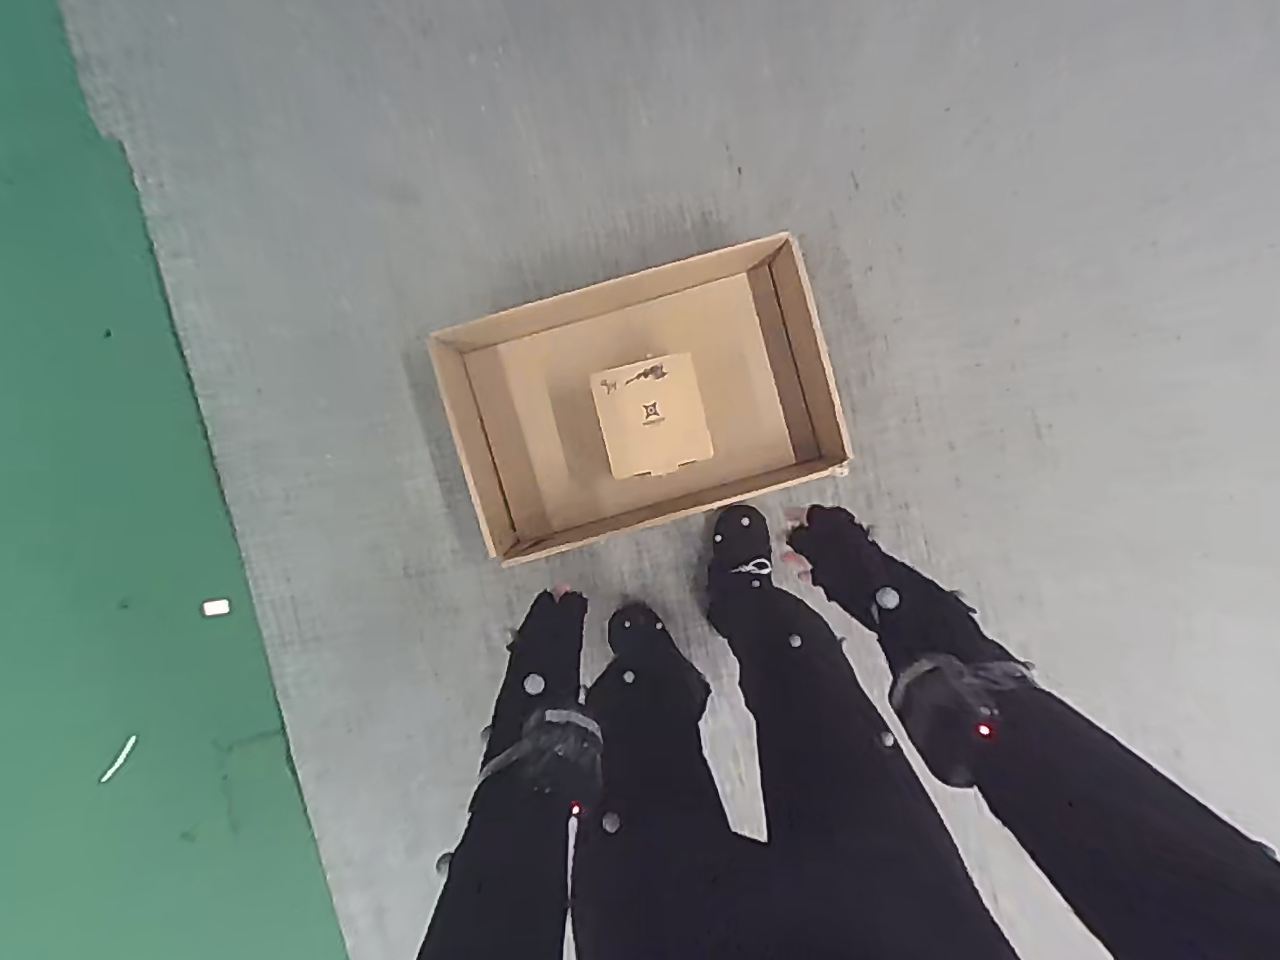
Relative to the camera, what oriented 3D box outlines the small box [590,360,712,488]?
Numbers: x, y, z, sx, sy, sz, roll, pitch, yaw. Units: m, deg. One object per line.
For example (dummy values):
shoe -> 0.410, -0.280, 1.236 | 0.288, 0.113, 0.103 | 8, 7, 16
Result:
small box -> 0.020, -0.094, 0.931 | 0.168, 0.176, 0.179 | -13, 94, 1
